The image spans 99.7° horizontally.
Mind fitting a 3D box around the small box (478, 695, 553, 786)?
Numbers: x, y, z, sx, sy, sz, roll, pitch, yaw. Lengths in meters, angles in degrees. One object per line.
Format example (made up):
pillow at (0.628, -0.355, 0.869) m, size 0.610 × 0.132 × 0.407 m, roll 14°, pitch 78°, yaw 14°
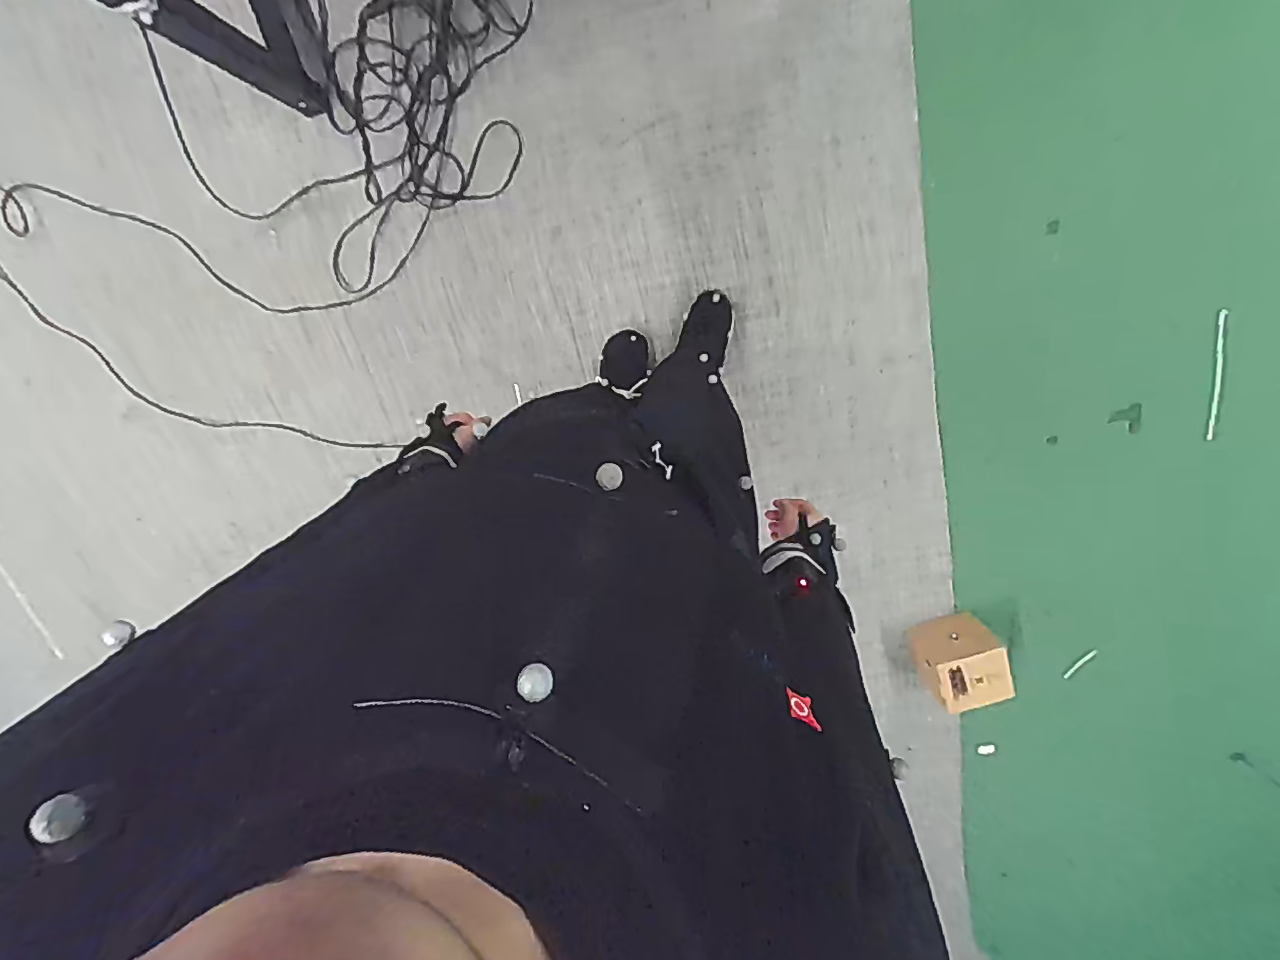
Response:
small box at (-0.352, 0.738, 1.545) m, size 0.179 × 0.176 × 0.168 m, roll 3°, pitch 109°, yaw -1°
